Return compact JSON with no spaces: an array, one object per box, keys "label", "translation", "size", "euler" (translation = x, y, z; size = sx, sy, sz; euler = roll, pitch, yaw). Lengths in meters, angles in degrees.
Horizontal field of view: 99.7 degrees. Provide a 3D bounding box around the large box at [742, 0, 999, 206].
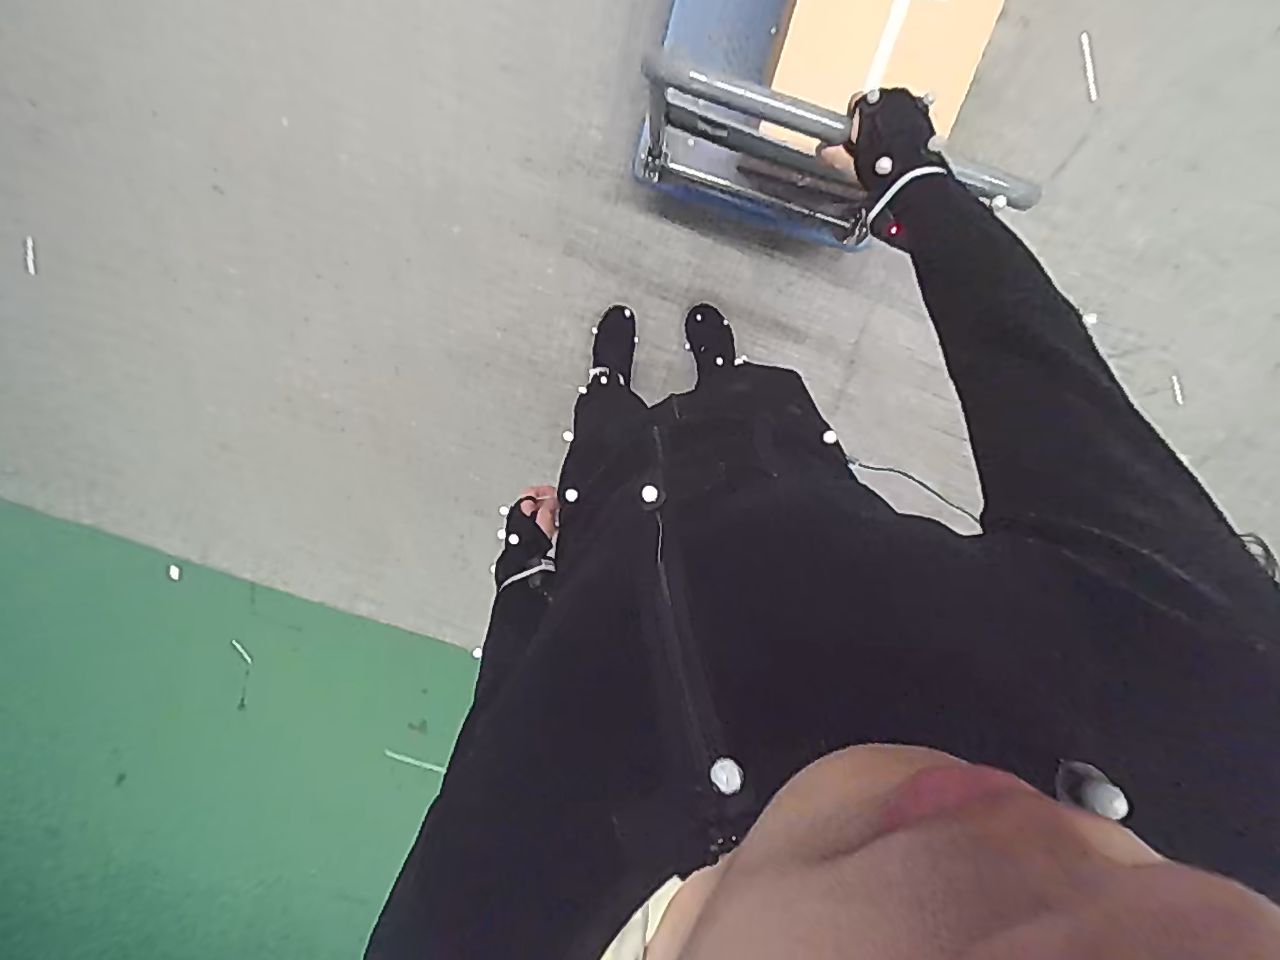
[{"label":"large box","translation":[0.407,-0.778,1.009],"size":[0.320,0.320,0.408],"euler":[14,111,-3]}]
